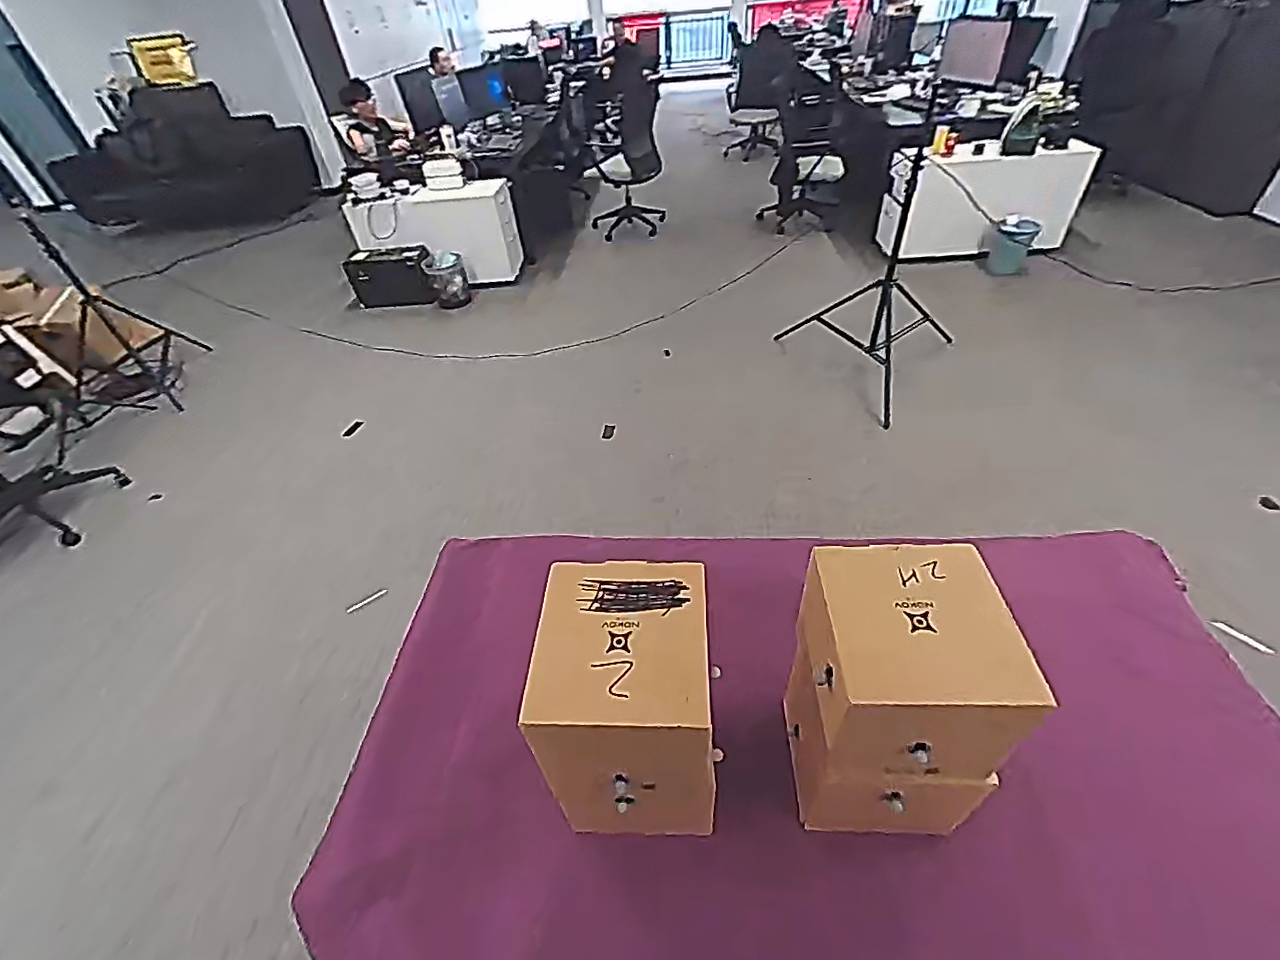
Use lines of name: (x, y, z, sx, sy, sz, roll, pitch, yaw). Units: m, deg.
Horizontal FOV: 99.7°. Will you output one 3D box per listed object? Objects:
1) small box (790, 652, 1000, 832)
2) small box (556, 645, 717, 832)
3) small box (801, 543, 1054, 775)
small box: (0.291, 0.314, 0.665, 0.179, 0.176, 0.168, -2, 42, 6)
small box: (0.006, 0.327, 0.682, 0.179, 0.176, 0.168, -1, 43, 4)
small box: (0.270, 0.186, 0.561, 0.168, 0.176, 0.179, -1, 42, 6)
